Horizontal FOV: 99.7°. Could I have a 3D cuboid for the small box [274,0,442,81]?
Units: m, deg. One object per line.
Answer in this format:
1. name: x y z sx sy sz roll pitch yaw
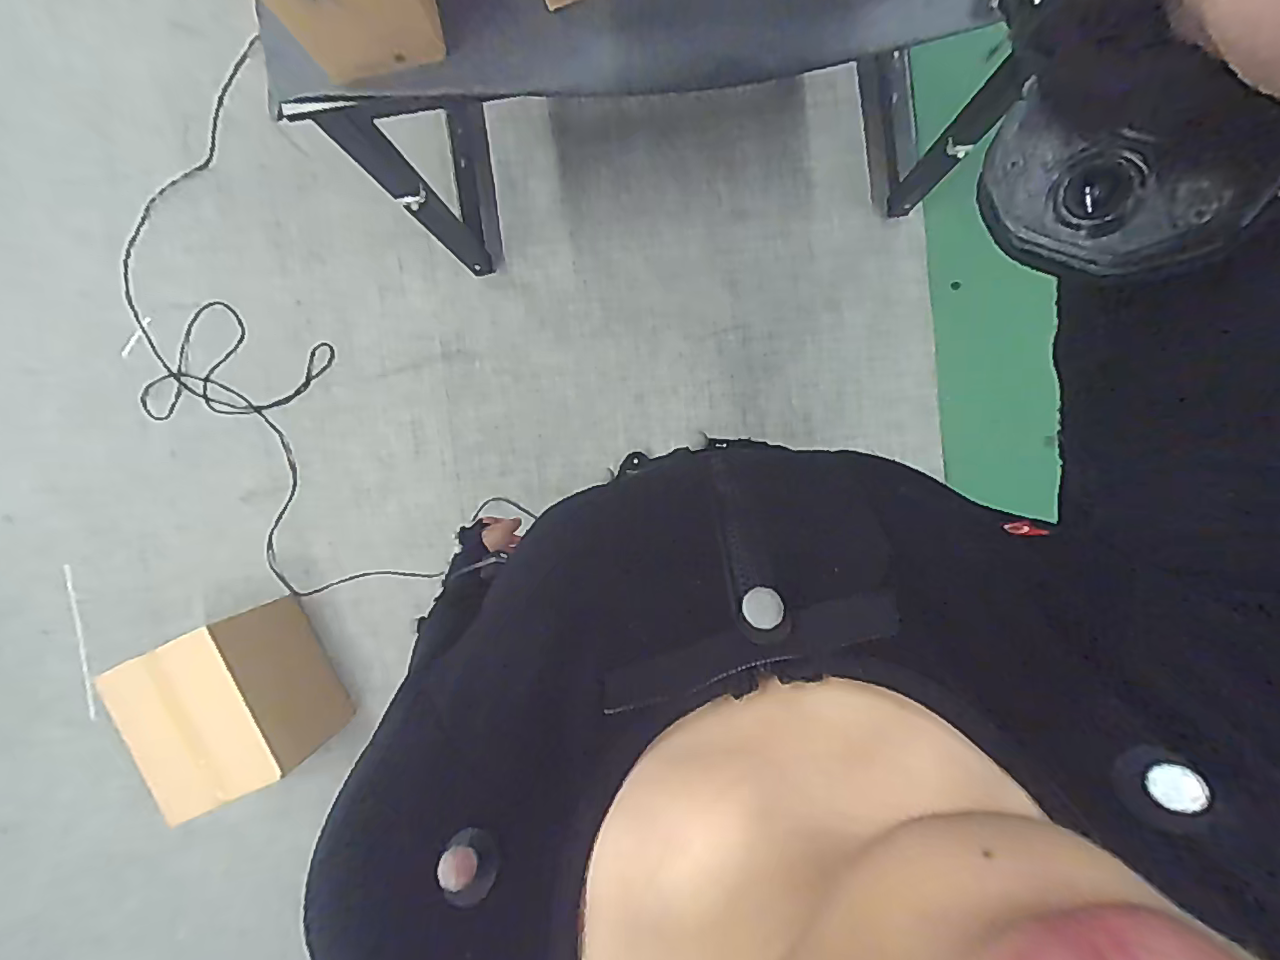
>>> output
1. small box: -0.371 -0.656 0.675 0.168 0.176 0.179 -12 92 3
